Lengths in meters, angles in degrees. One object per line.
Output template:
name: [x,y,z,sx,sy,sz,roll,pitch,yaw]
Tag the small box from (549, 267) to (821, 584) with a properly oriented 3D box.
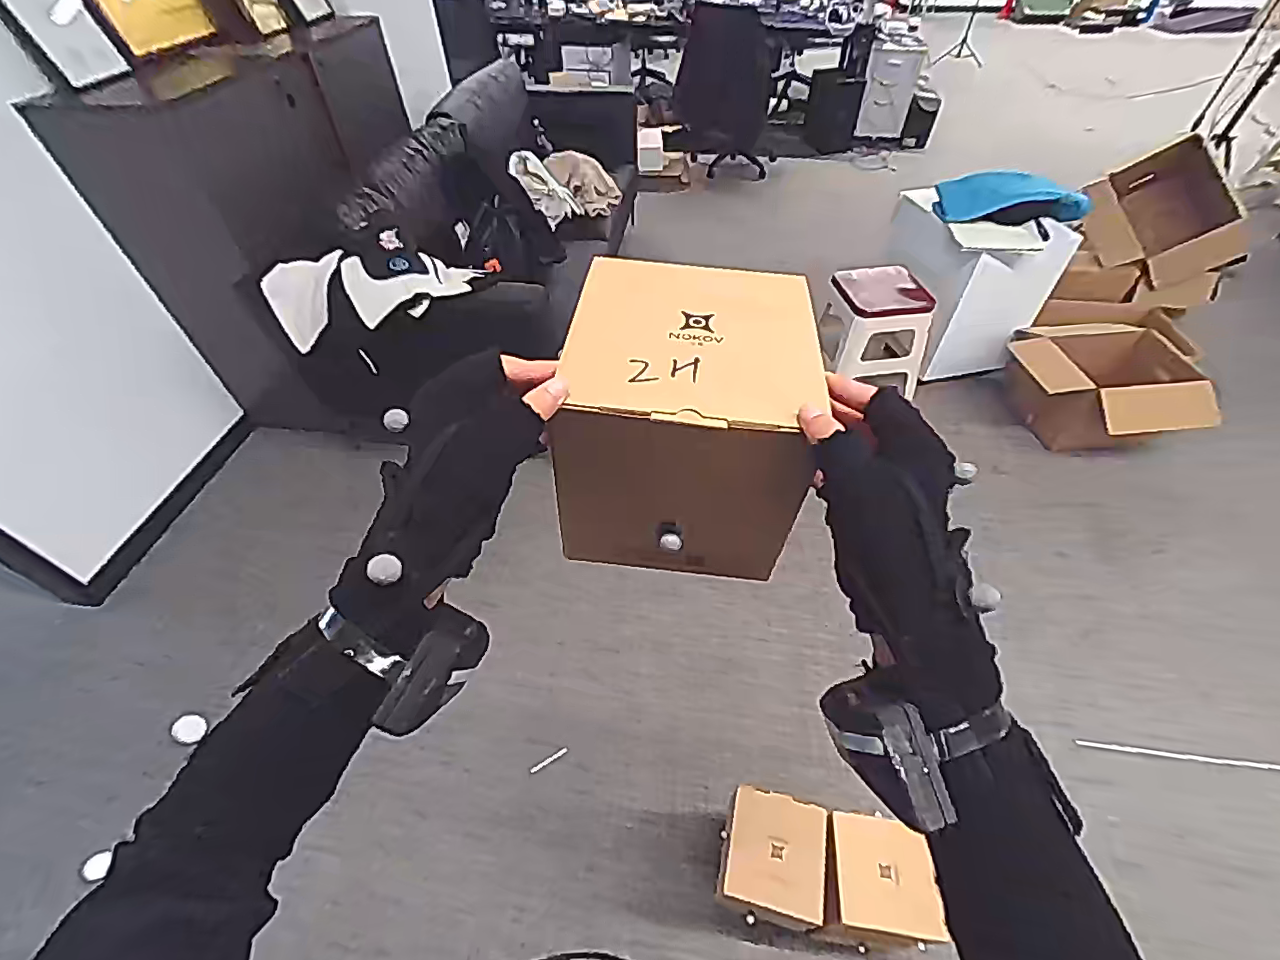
small box: [0.031,-0.043,0.432,0.168,0.176,0.179,7,48,3]
